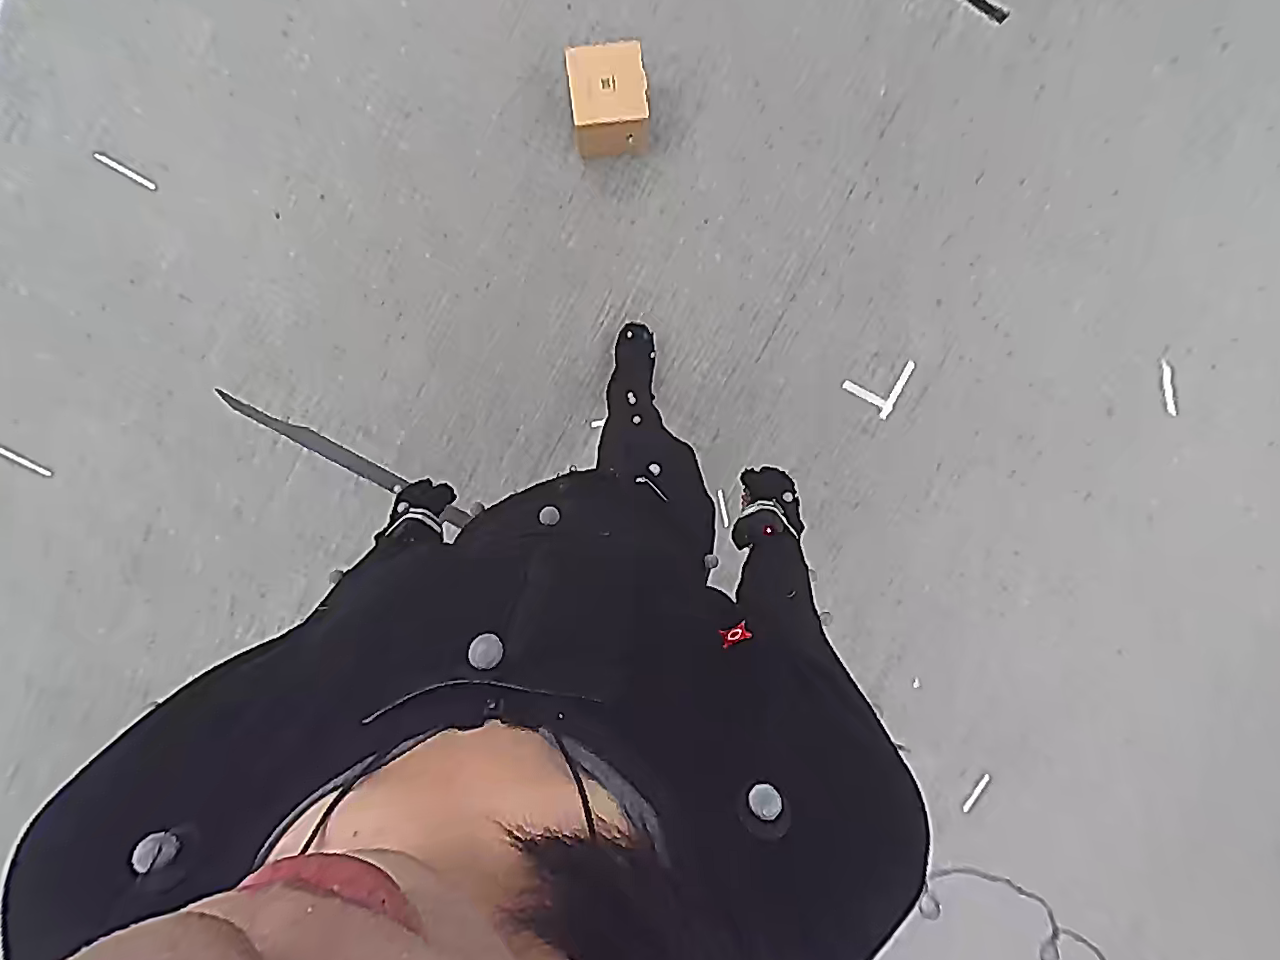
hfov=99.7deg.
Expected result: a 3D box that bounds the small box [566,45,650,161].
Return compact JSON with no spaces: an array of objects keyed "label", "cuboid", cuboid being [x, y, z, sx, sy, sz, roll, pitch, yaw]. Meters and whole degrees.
[{"label":"small box","cuboid":[-0.075,-0.899,1.303,0.179,0.176,0.168,-8,96,-1]}]
